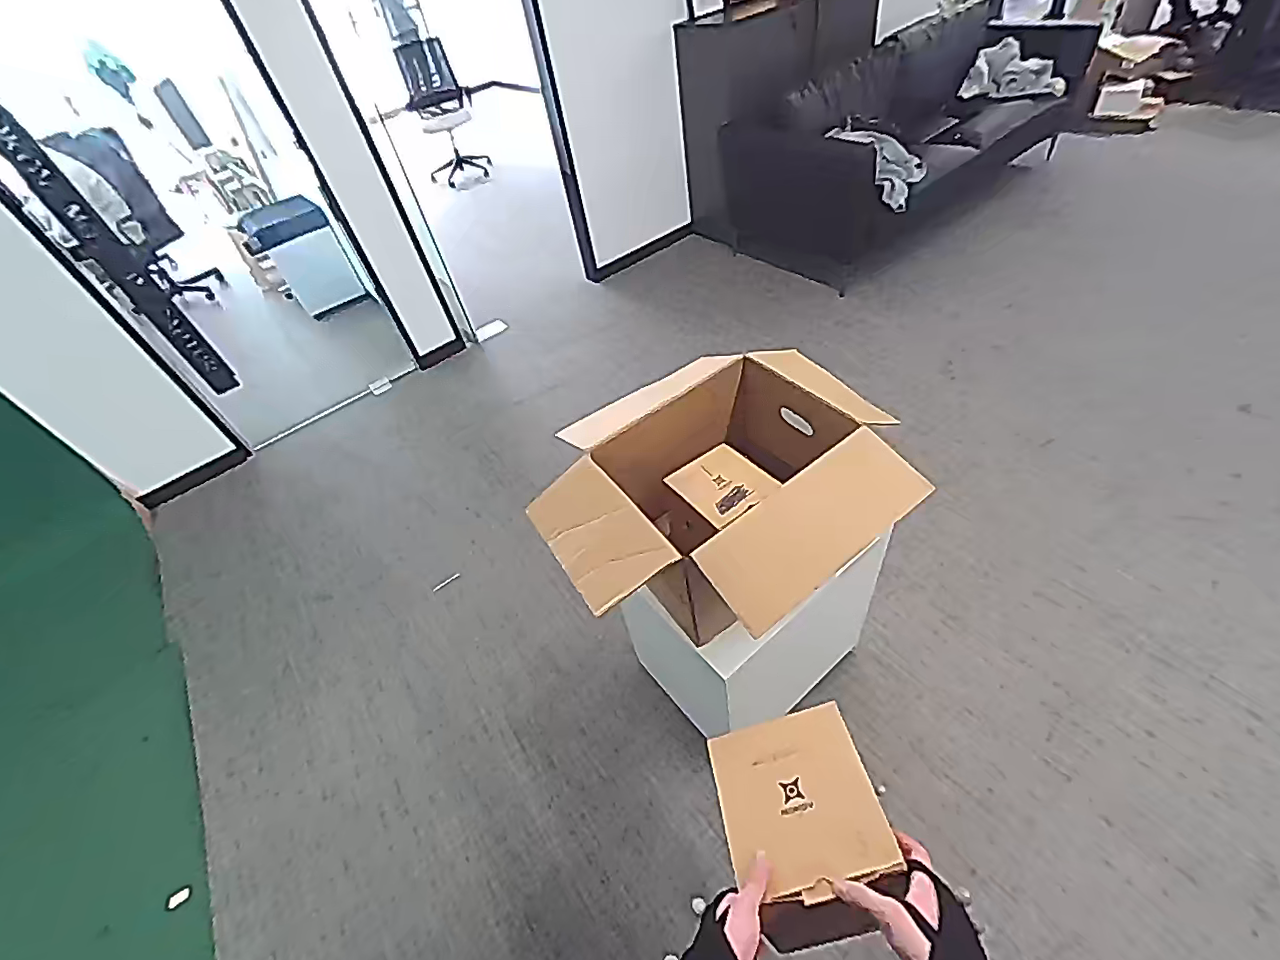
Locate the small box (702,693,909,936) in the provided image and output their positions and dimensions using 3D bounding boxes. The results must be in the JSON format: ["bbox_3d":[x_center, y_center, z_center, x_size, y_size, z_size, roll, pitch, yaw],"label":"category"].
[{"bbox_3d":[0.188,0.390,0.627,0.168,0.176,0.179,-21,32,6],"label":"small box"}]
